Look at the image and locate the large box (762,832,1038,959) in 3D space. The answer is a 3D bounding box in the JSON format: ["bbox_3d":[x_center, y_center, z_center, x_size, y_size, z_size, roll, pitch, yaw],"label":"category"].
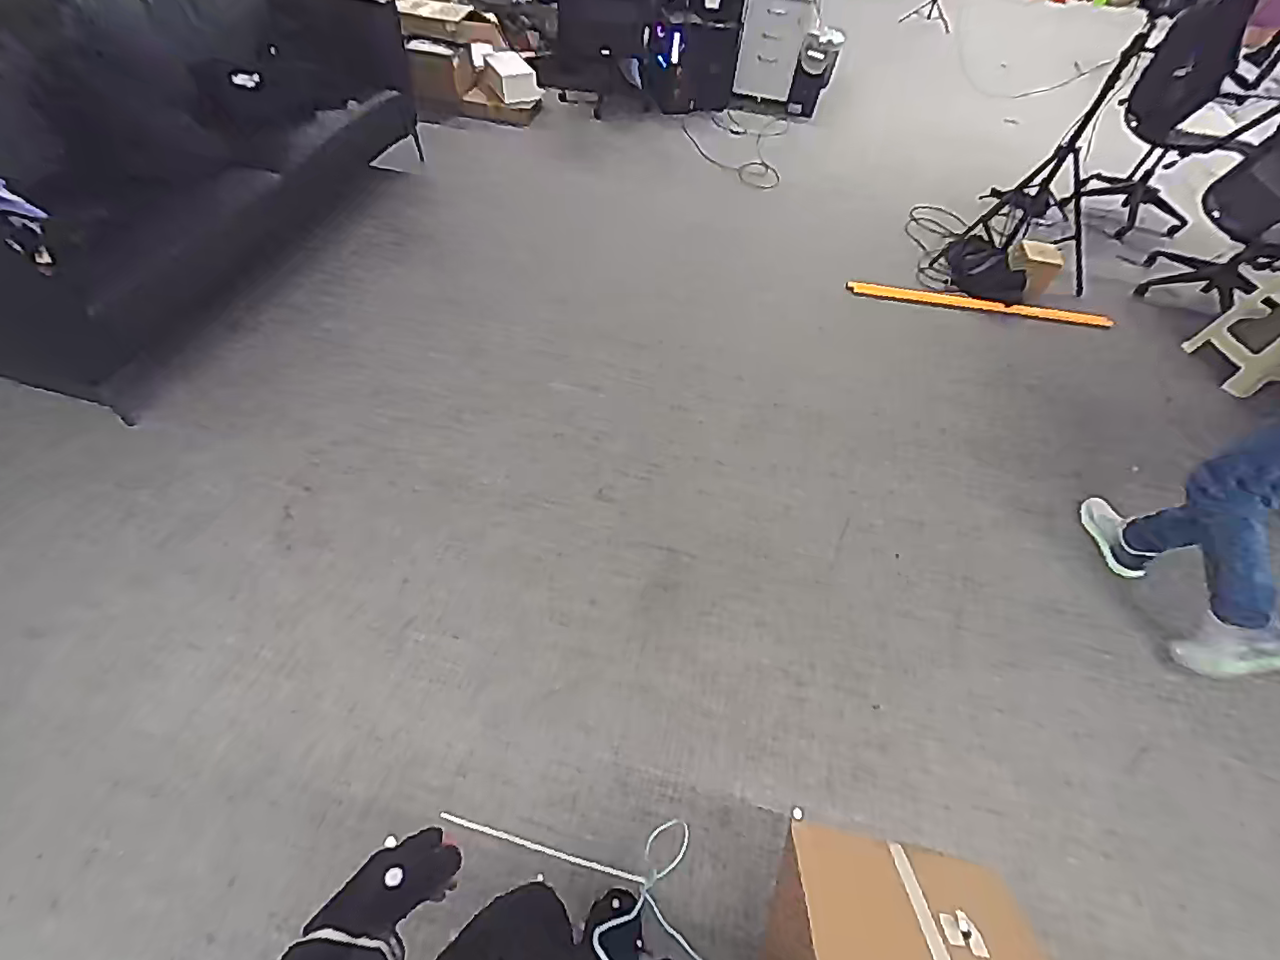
[{"bbox_3d":[0.339,0.755,0.670,0.320,0.320,0.408,11,10,6],"label":"large box"}]
